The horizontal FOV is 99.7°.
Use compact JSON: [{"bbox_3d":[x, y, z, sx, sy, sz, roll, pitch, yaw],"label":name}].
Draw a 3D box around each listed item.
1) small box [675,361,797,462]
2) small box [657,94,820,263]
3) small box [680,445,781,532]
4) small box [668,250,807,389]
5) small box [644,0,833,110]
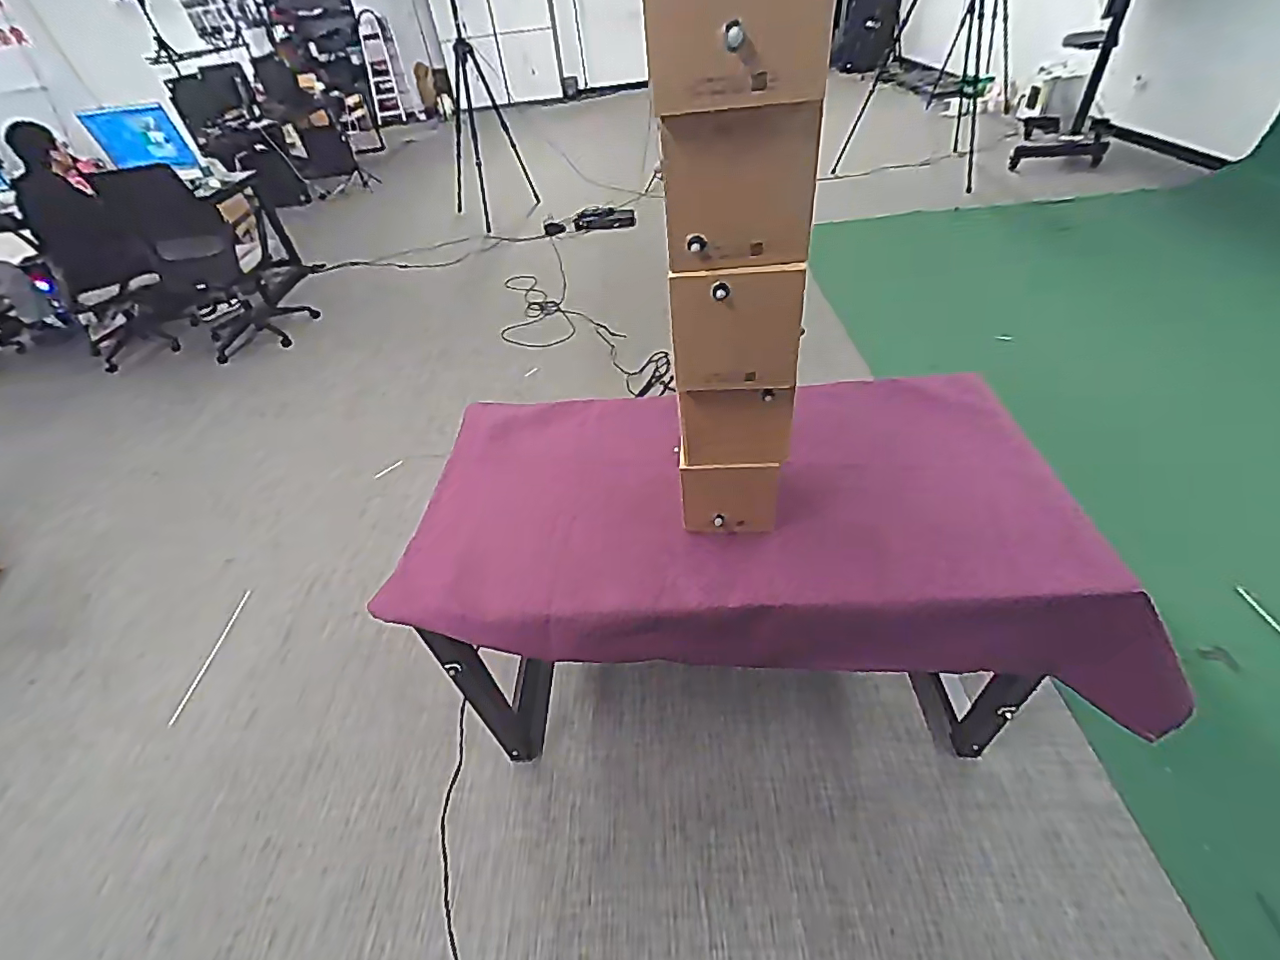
[{"bbox_3d":[0.152,-0.142,0.881,0.179,0.176,0.168,-2,44,7],"label":"small box"},{"bbox_3d":[0.112,-0.372,0.650,0.168,0.176,0.179,-3,43,6],"label":"small box"},{"bbox_3d":[0.163,-0.024,0.991,0.168,0.176,0.179,-1,44,9],"label":"small box"},{"bbox_3d":[0.133,-0.244,0.752,0.168,0.176,0.179,0,43,10],"label":"small box"},{"bbox_3d":[0.094,-0.473,0.519,0.168,0.176,0.179,1,45,11],"label":"small box"}]
